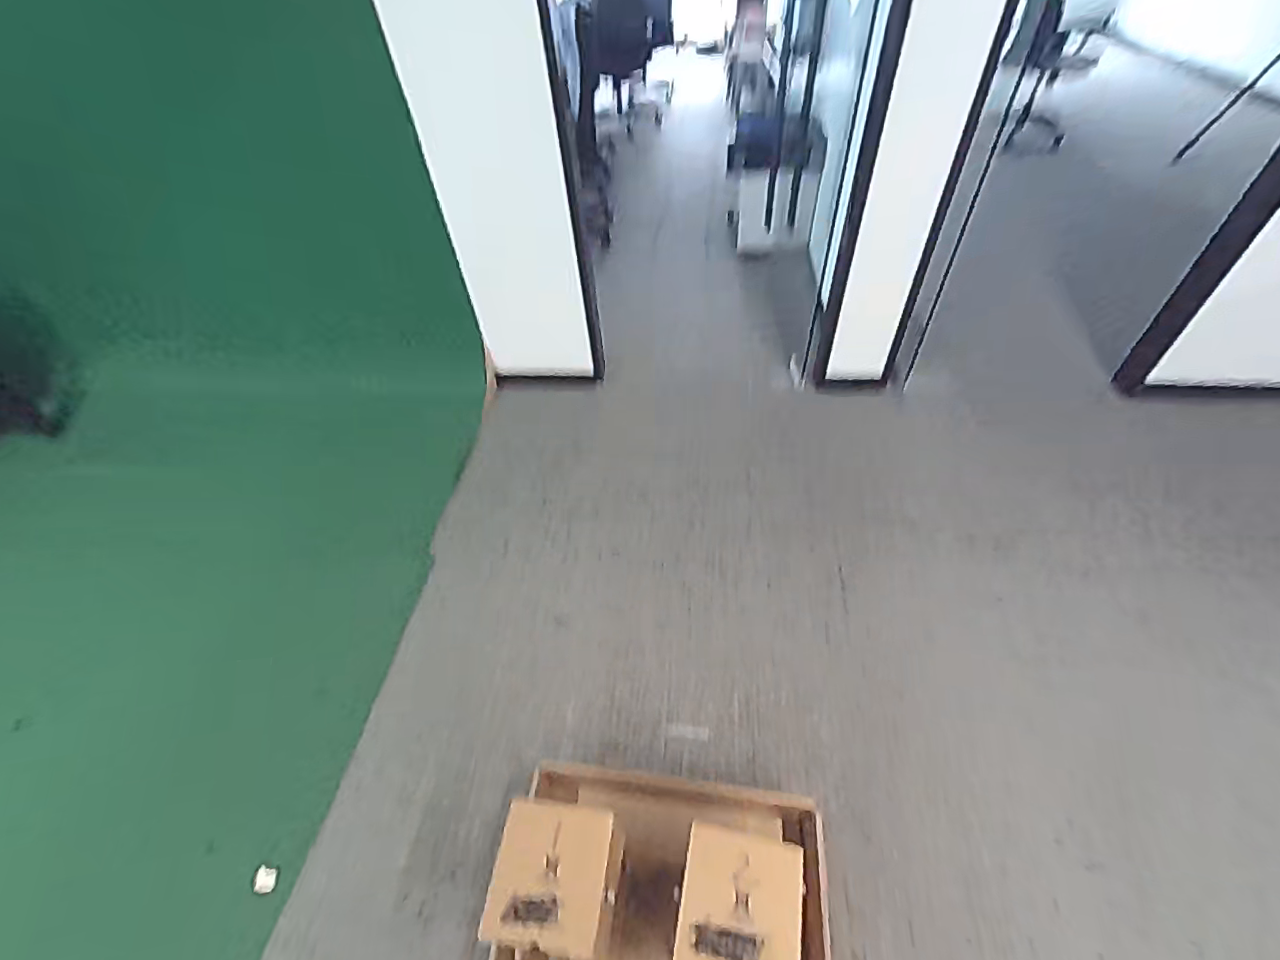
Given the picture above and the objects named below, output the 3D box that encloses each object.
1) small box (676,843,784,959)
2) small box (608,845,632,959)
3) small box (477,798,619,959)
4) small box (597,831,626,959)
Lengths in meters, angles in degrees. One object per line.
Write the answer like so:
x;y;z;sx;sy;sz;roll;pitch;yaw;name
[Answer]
0.152;0.755;0.930;0.168;0.176;0.179;5;50;9;small box
-0.112;0.838;1.090;0.168;0.176;0.179;6;48;9;small box
-0.128;0.624;0.844;0.168;0.176;0.179;4;48;7;small box
-0.120;0.732;0.968;0.168;0.176;0.179;6;49;8;small box
